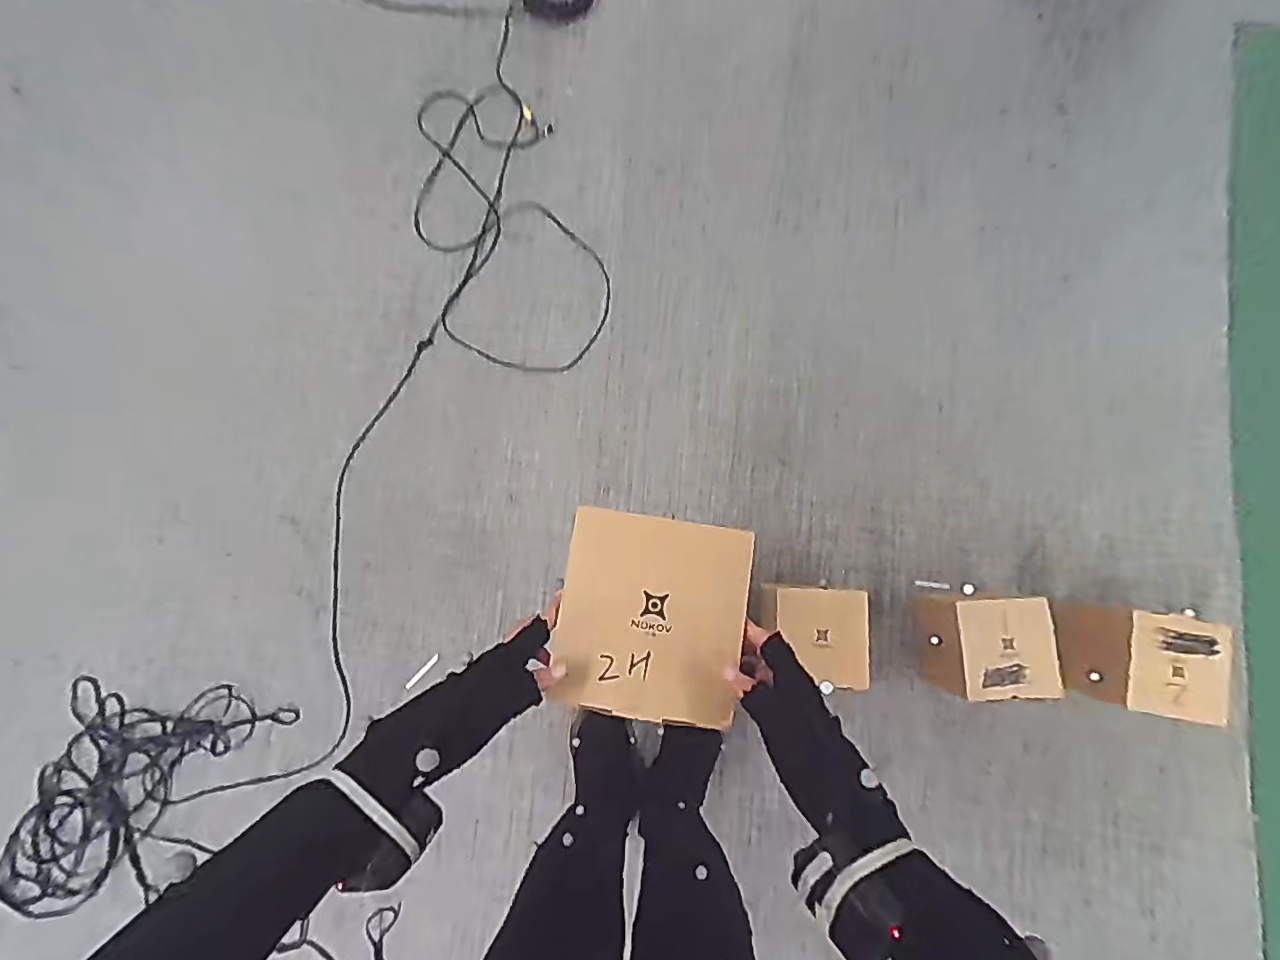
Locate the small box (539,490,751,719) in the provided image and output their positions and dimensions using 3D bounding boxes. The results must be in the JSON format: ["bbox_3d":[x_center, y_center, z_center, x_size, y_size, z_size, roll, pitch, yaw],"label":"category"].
[{"bbox_3d":[0.008,0.119,0.551,0.168,0.176,0.179,8,81,3],"label":"small box"}]

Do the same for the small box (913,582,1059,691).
[{"bbox_3d":[0.647,0.290,1.032,0.168,0.176,0.179,-3,82,2],"label":"small box"}]

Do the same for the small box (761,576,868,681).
[{"bbox_3d":[0.330,0.279,1.051,0.168,0.176,0.179,1,83,4],"label":"small box"}]
